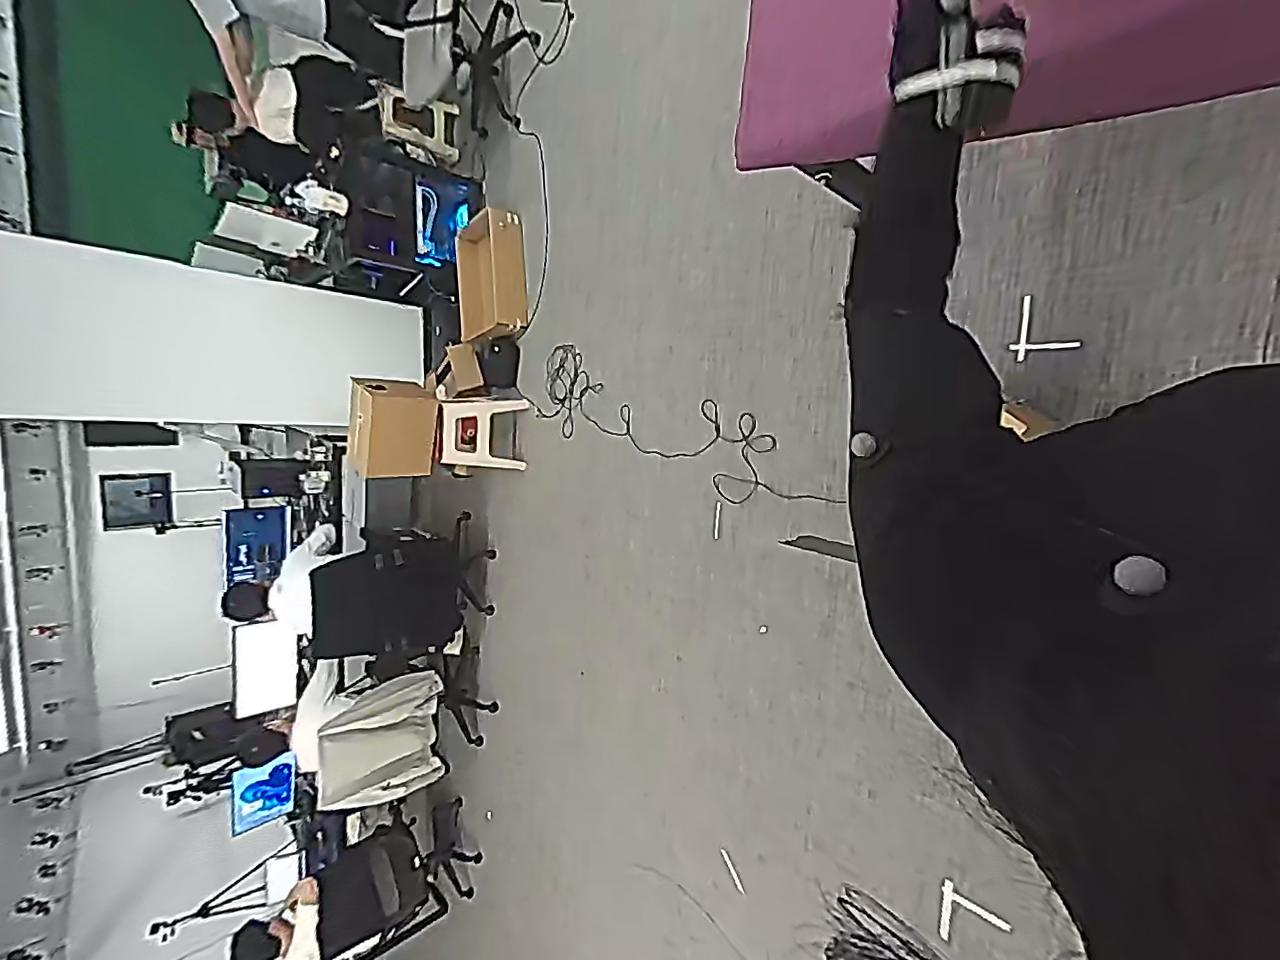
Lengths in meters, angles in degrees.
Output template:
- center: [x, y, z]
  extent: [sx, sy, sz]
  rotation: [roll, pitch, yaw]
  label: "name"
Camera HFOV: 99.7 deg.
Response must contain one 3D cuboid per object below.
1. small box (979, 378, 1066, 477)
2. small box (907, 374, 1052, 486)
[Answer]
- center: [0.836, -0.116, 1.257]
  extent: [0.179, 0.176, 0.168]
  rotation: [48, 126, 33]
  label: "small box"
- center: [0.717, -0.103, 1.144]
  extent: [0.179, 0.176, 0.168]
  rotation: [51, 127, 33]
  label: "small box"
